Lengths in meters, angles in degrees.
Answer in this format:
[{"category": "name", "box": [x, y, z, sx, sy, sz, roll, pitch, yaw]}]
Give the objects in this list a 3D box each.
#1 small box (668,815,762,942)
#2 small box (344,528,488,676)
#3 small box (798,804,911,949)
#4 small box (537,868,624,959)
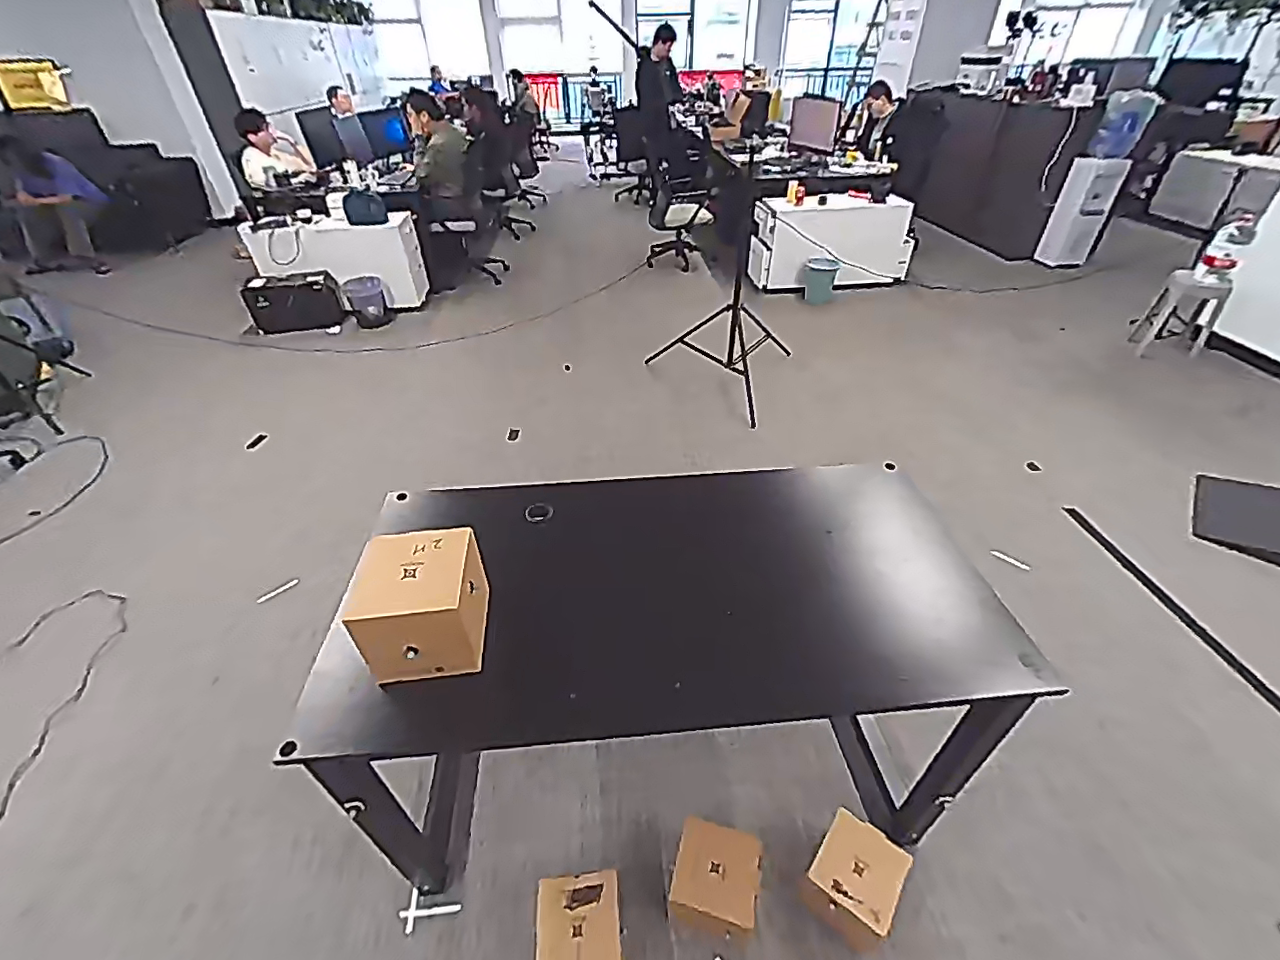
[{"category": "small box", "box": [0.166, 0.887, 1.201, 0.179, 0.176, 0.168, 8, 39, 14]}, {"category": "small box", "box": [-0.354, 0.205, 0.894, 0.168, 0.176, 0.179, -5, 39, -6]}, {"category": "small box", "box": [0.469, 0.878, 1.199, 0.168, 0.176, 0.179, 26, 46, 30]}, {"category": "small box", "box": [-0.121, 0.948, 1.132, 0.168, 0.176, 0.179, -5, 41, -4]}]
